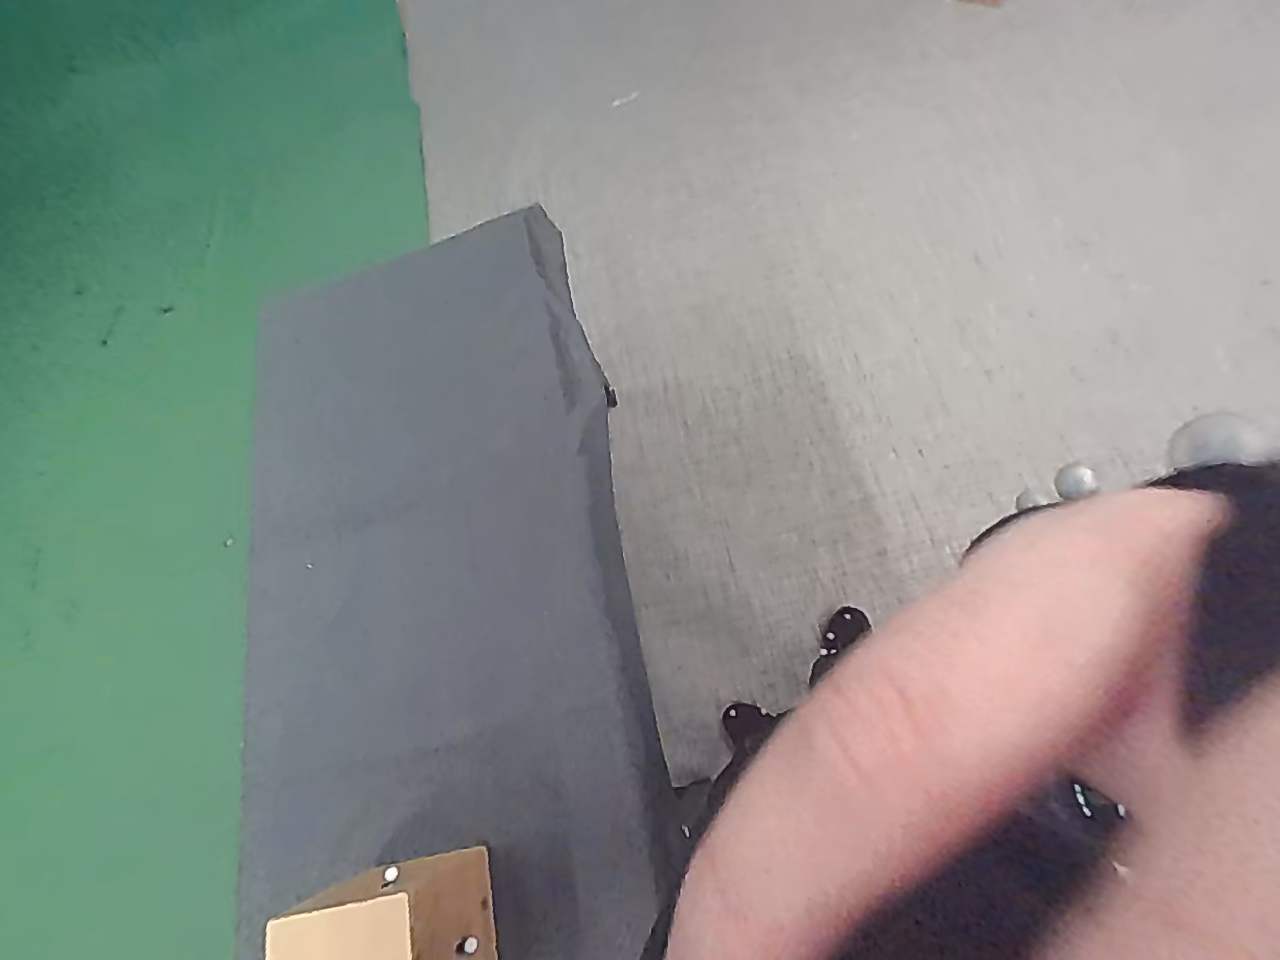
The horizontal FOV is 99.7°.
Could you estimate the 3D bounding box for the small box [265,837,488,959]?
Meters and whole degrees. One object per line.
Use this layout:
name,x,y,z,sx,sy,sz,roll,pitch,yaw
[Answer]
small box,-0.288,0.535,0.619,0.179,0.176,0.168,-16,68,7
